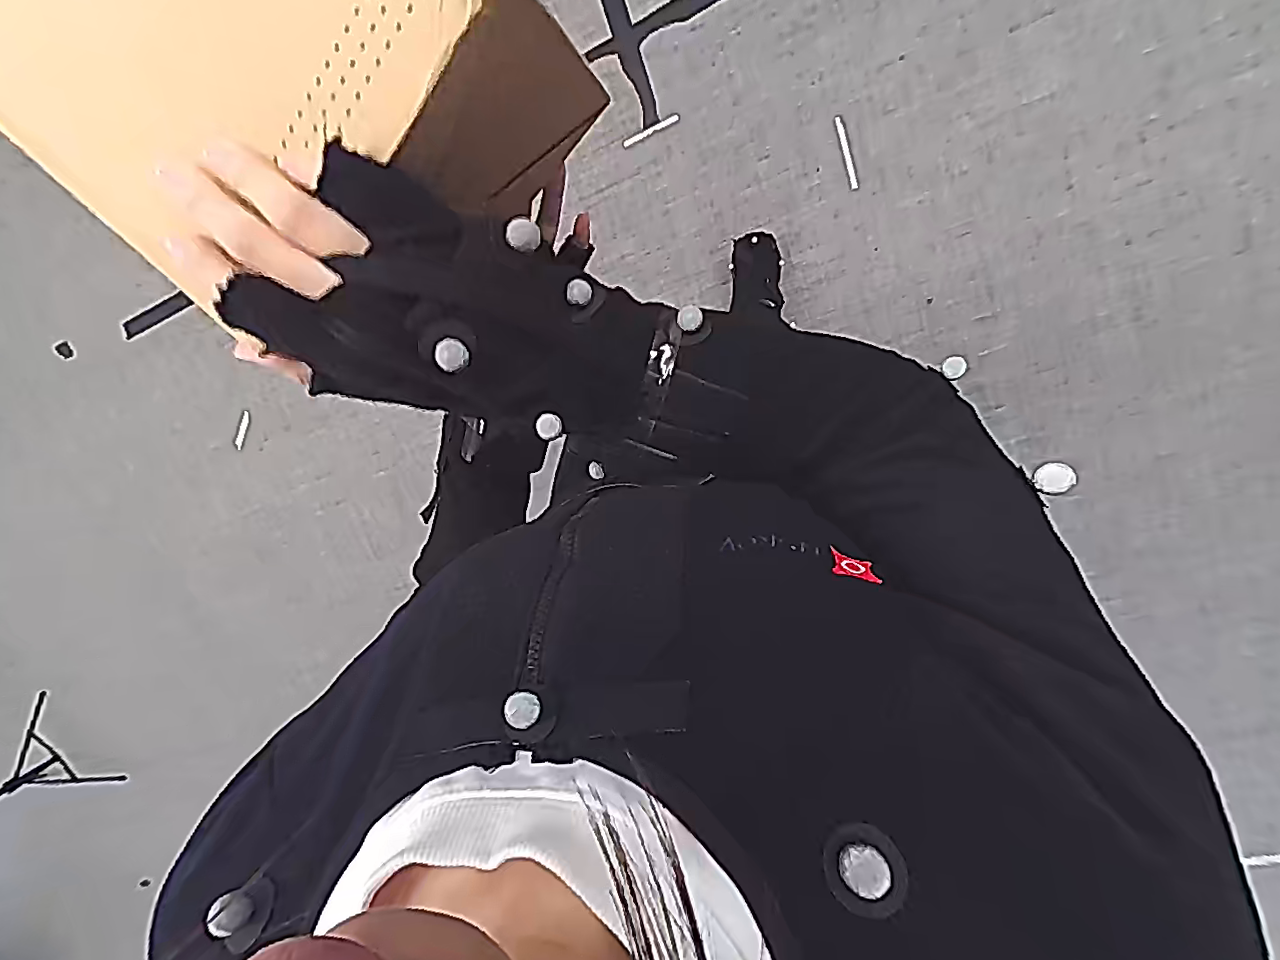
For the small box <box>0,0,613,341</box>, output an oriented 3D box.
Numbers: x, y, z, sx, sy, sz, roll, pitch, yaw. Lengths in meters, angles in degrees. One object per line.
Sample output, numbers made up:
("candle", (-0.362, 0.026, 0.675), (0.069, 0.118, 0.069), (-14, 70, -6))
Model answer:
("small box", (-0.141, -0.196, 0.269), (0.176, 0.168, 0.179), (44, 113, -12))
